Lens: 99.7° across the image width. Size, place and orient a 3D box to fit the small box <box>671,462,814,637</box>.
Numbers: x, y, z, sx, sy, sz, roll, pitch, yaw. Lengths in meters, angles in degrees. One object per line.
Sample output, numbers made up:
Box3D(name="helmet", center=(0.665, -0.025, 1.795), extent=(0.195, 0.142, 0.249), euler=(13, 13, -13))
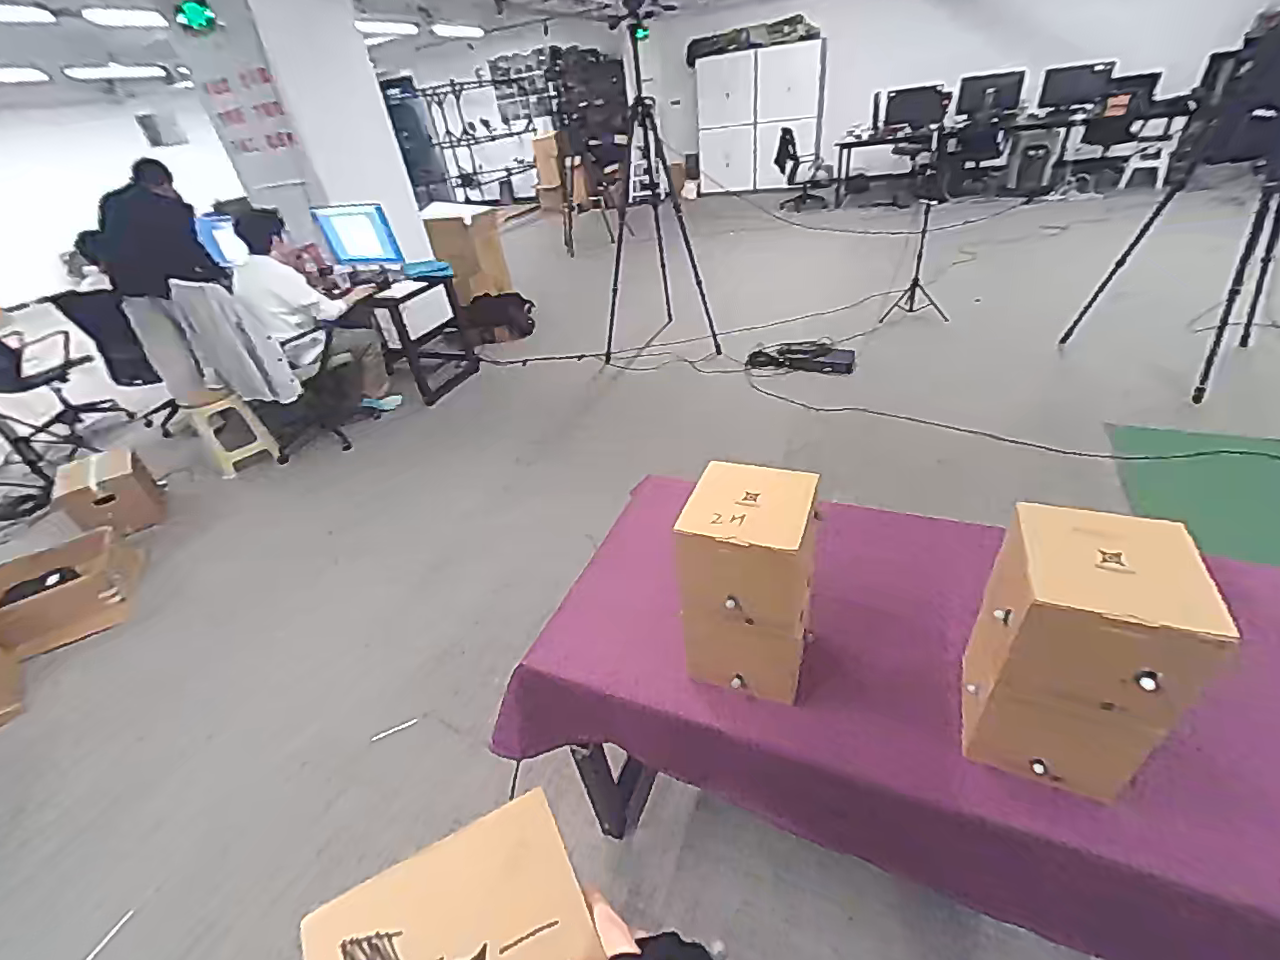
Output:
Box3D(name="small box", center=(0.155, 0.098, 0.802), extent=(0.168, 0.176, 0.179), euler=(8, 39, 23))

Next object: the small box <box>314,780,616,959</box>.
Box3D(name="small box", center=(-0.115, 0.372, 0.410), extent=(0.179, 0.176, 0.168), euler=(-19, 51, -21))

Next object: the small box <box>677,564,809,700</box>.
Box3D(name="small box", center=(0.172, 0.235, 0.894), extent=(0.179, 0.176, 0.168), euler=(8, 38, 21))

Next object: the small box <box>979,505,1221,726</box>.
Box3D(name="small box", center=(0.521, 0.158, 0.647), extent=(0.168, 0.176, 0.179), euler=(9, 39, 23))
